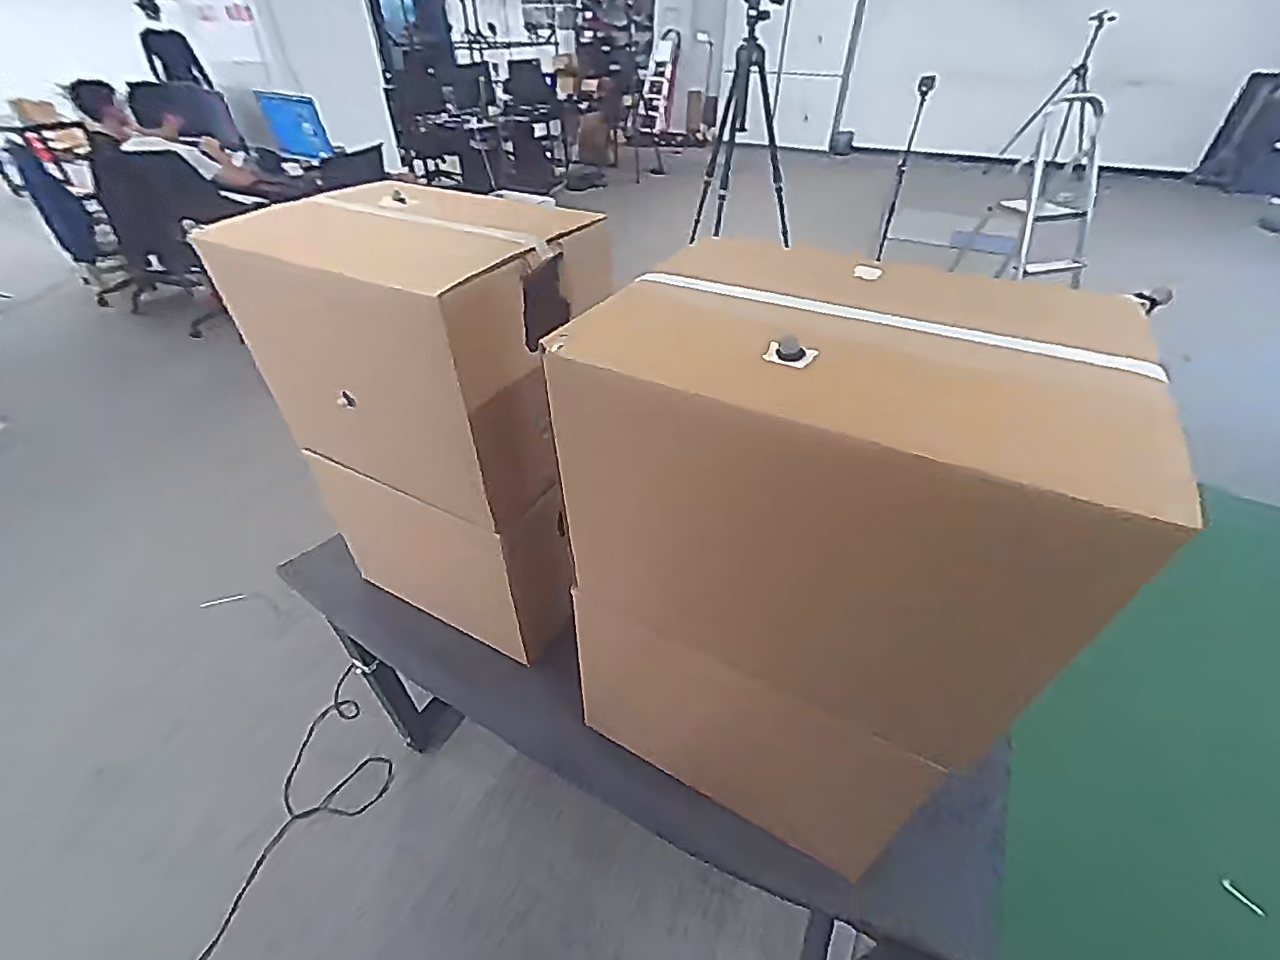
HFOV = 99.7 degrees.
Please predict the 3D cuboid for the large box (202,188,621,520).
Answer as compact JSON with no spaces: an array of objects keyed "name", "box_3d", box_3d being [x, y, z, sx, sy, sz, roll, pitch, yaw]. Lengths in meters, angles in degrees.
[{"name":"large box","box_3d":[-0.276,-0.198,0.770,0.408,0.320,0.320,19,43,23]}]
